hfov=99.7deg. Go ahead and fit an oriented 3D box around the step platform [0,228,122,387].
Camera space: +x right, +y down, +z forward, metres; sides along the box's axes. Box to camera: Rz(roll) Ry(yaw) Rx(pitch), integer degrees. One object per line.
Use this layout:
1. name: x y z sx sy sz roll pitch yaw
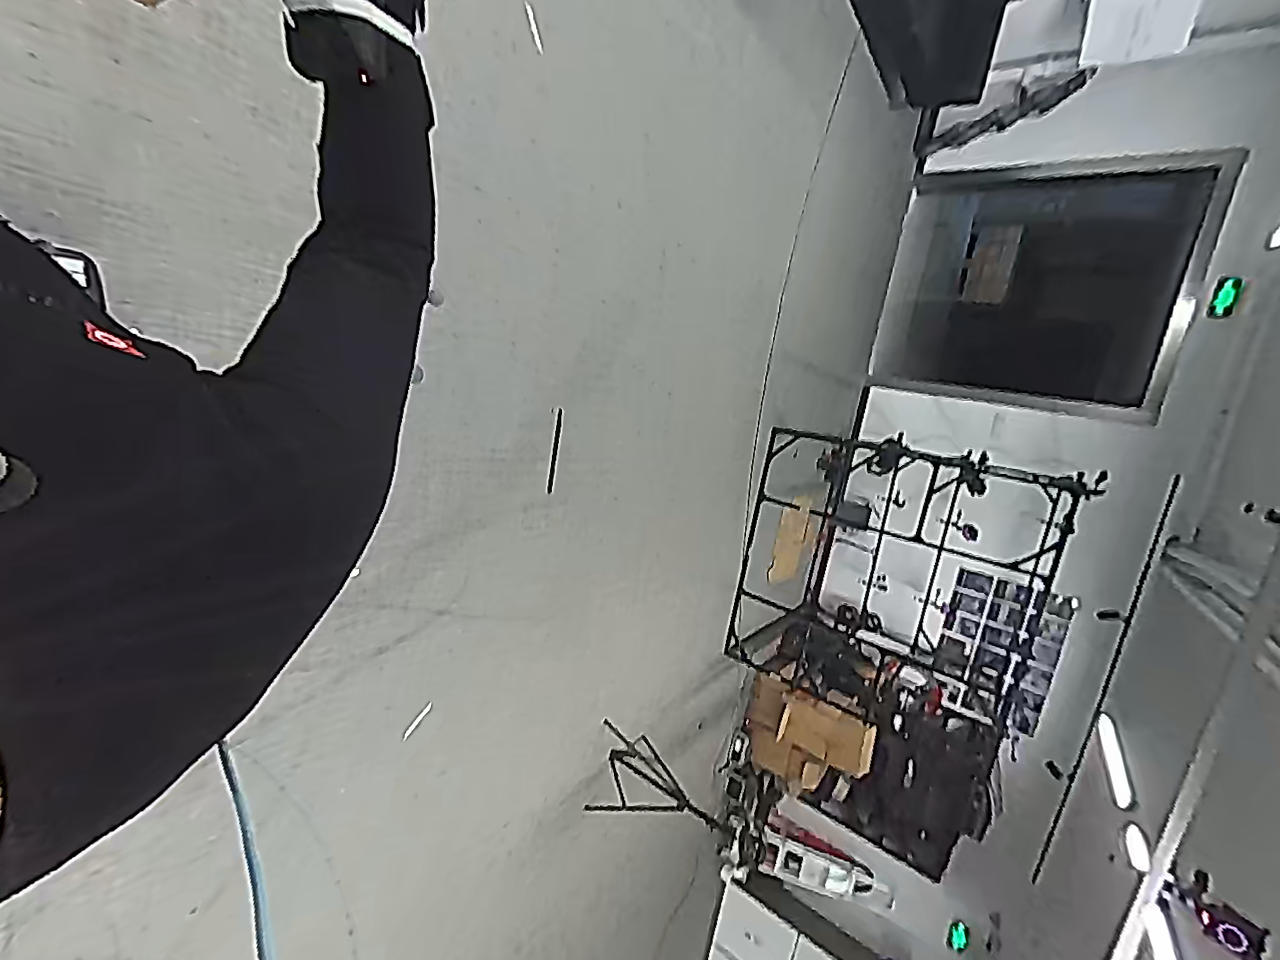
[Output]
1. step platform: -1.315 -0.319 0.878 0.684 0.204 0.286 -7 110 -55
